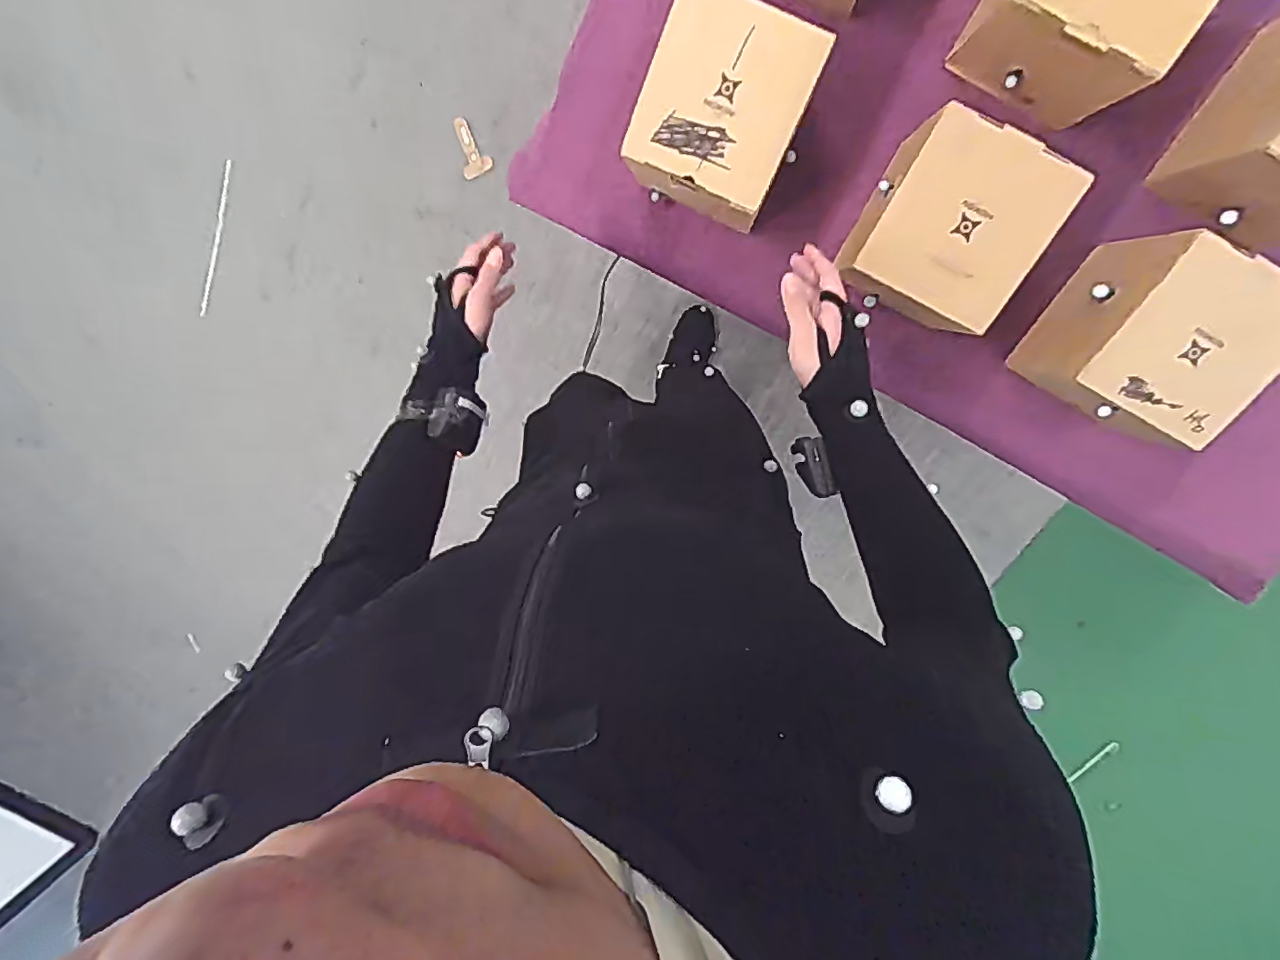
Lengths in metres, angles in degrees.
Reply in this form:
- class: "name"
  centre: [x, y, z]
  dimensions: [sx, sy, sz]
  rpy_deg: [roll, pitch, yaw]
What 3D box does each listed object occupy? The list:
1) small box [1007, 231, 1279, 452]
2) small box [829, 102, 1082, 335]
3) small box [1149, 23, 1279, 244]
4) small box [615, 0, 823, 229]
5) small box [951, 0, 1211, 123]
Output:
- class: "small box"
  centre: [0.591, -0.164, 0.643]
  dimensions: [0.168, 0.176, 0.179]
  rpy_deg: [30, 110, -1]
- class: "small box"
  centre: [0.347, -0.294, 0.642]
  dimensions: [0.168, 0.176, 0.179]
  rpy_deg: [29, 111, 0]
- class: "small box"
  centre: [0.702, -0.367, 0.554]
  dimensions: [0.168, 0.176, 0.179]
  rpy_deg: [30, 111, 0]
- class: "small box"
  centre: [0.090, -0.420, 0.640]
  dimensions: [0.168, 0.176, 0.179]
  rpy_deg: [25, 109, 0]
- class: "small box"
  centre: [0.459, -0.509, 0.550]
  dimensions: [0.168, 0.176, 0.179]
  rpy_deg: [28, 112, 0]
